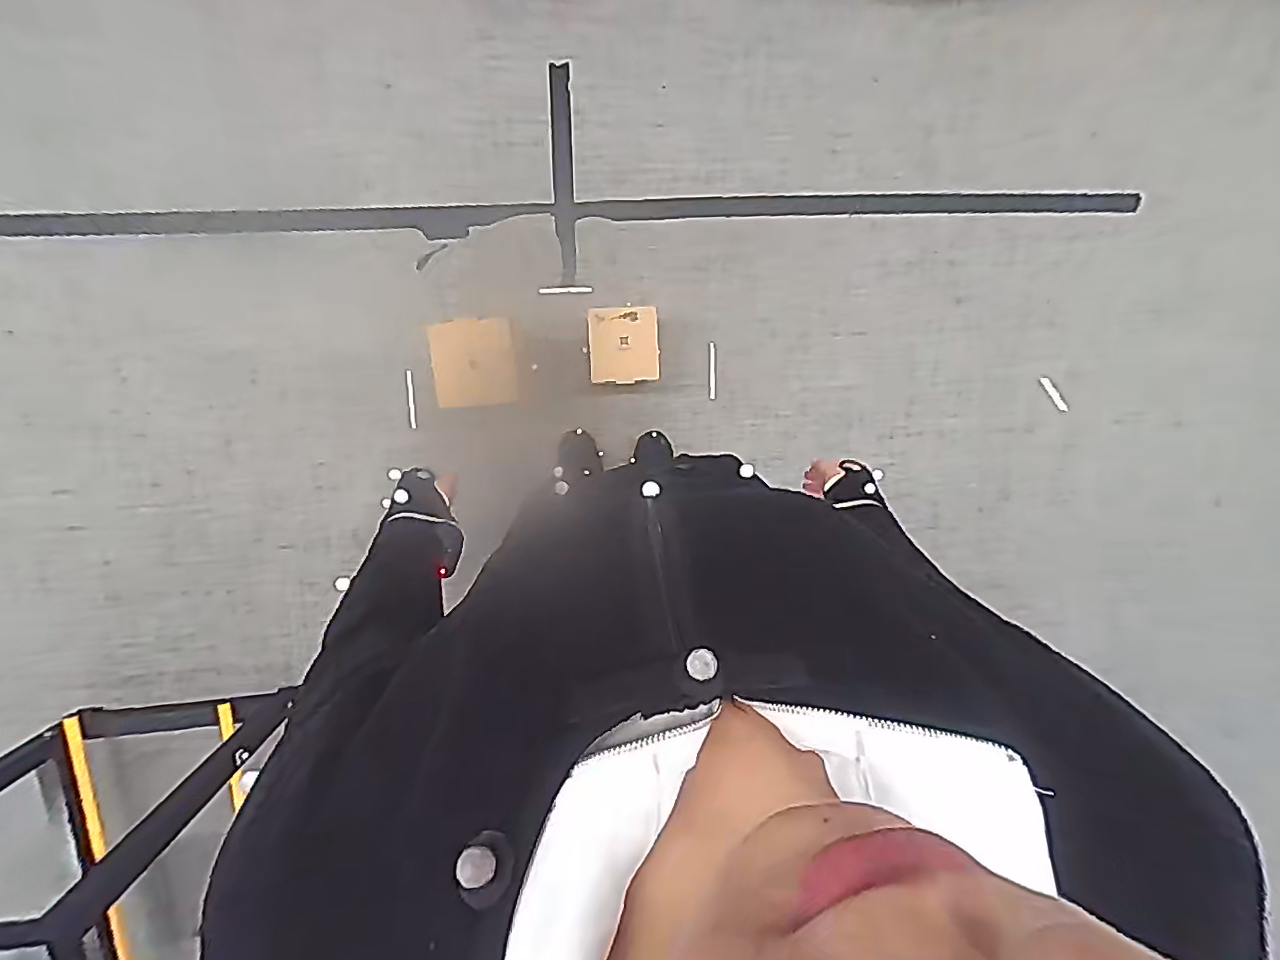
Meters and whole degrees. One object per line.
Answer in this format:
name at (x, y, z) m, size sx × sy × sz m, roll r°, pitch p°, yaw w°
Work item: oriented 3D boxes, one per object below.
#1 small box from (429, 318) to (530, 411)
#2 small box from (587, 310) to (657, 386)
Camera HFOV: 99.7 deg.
small box at (-0.343, -0.248, 1.185) m, size 0.168 × 0.176 × 0.179 m, roll -7°, pitch 101°, yaw -3°
small box at (-0.046, -0.329, 1.366) m, size 0.168 × 0.176 × 0.179 m, roll -3°, pitch 100°, yaw -4°
